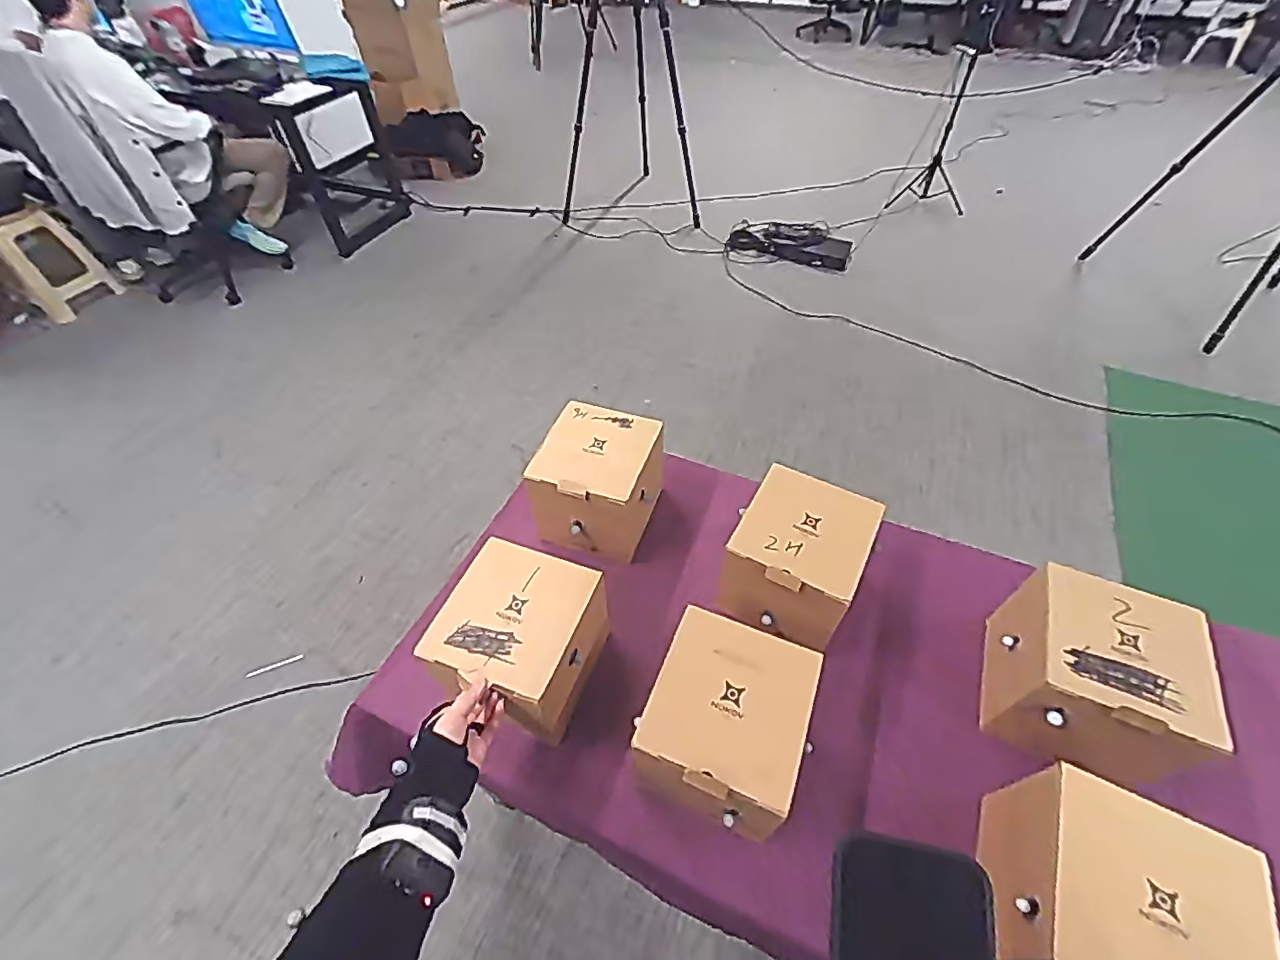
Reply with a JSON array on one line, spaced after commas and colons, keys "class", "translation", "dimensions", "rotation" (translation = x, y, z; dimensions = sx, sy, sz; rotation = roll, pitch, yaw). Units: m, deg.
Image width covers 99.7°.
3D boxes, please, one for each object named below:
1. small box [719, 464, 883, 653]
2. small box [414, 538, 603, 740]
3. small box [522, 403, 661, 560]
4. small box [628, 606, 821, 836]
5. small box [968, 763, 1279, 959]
[{"class": "small box", "translation": [0.224, 0.114, 0.784], "dimensions": [0.168, 0.176, 0.179], "rotation": [23, 55, 21]}, {"class": "small box", "translation": [-0.154, 0.212, 0.711], "dimensions": [0.168, 0.176, 0.179], "rotation": [16, 50, 14]}, {"class": "small box", "translation": [-0.067, 0.006, 0.885], "dimensions": [0.168, 0.176, 0.179], "rotation": [15, 53, 13]}, {"class": "small box", "translation": [0.098, 0.288, 0.642], "dimensions": [0.168, 0.176, 0.179], "rotation": [18, 52, 16]}, {"class": "small box", "translation": [0.445, 0.416, 0.521], "dimensions": [0.168, 0.176, 0.179], "rotation": [22, 54, 19]}]
